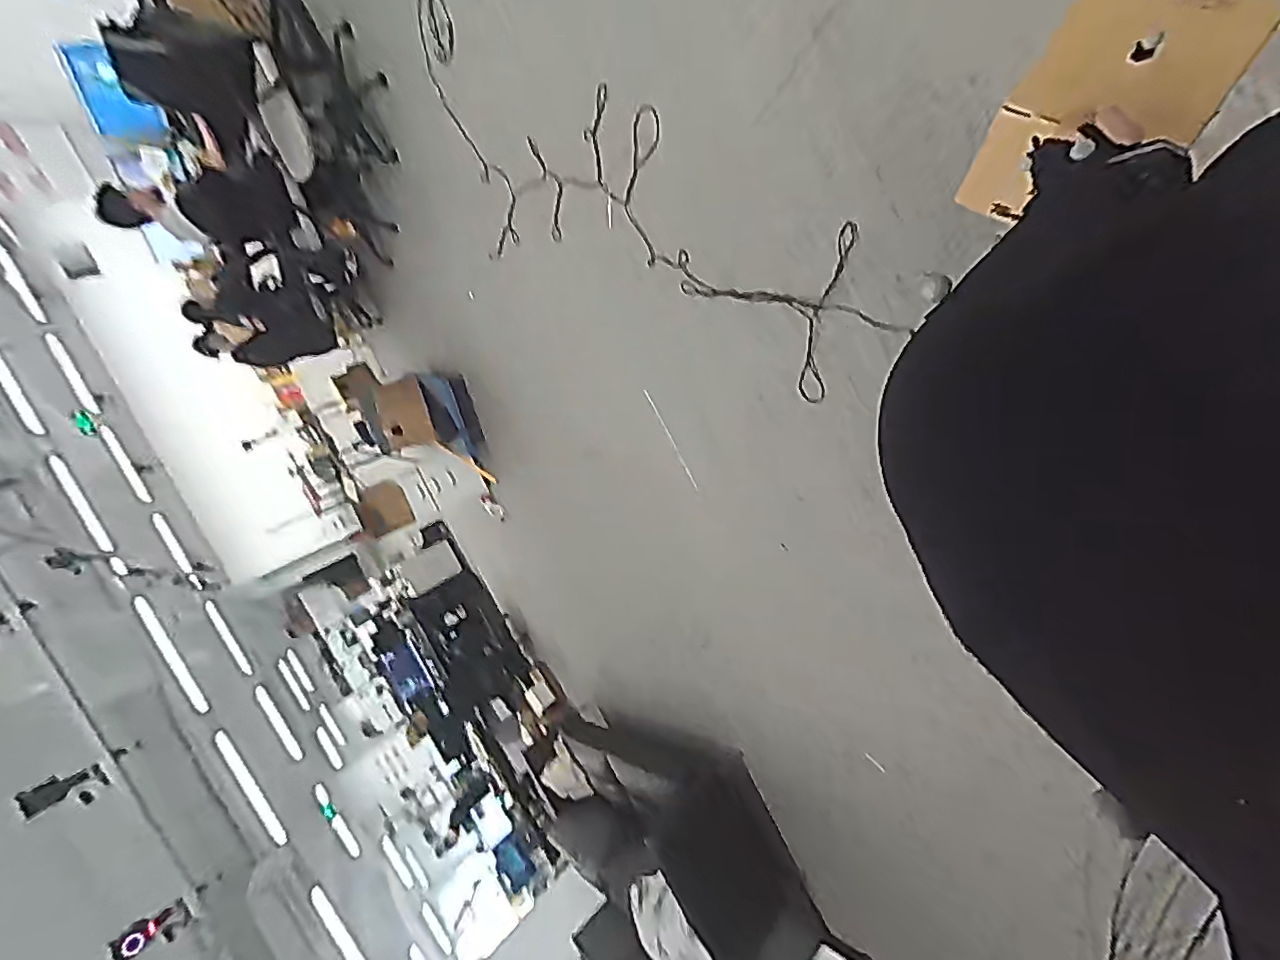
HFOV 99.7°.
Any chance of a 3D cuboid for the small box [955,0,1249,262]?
[{"bbox_3d":[0.499,-0.388,0.604,0.168,0.176,0.179,32,-177,17],"label":"small box"}]
